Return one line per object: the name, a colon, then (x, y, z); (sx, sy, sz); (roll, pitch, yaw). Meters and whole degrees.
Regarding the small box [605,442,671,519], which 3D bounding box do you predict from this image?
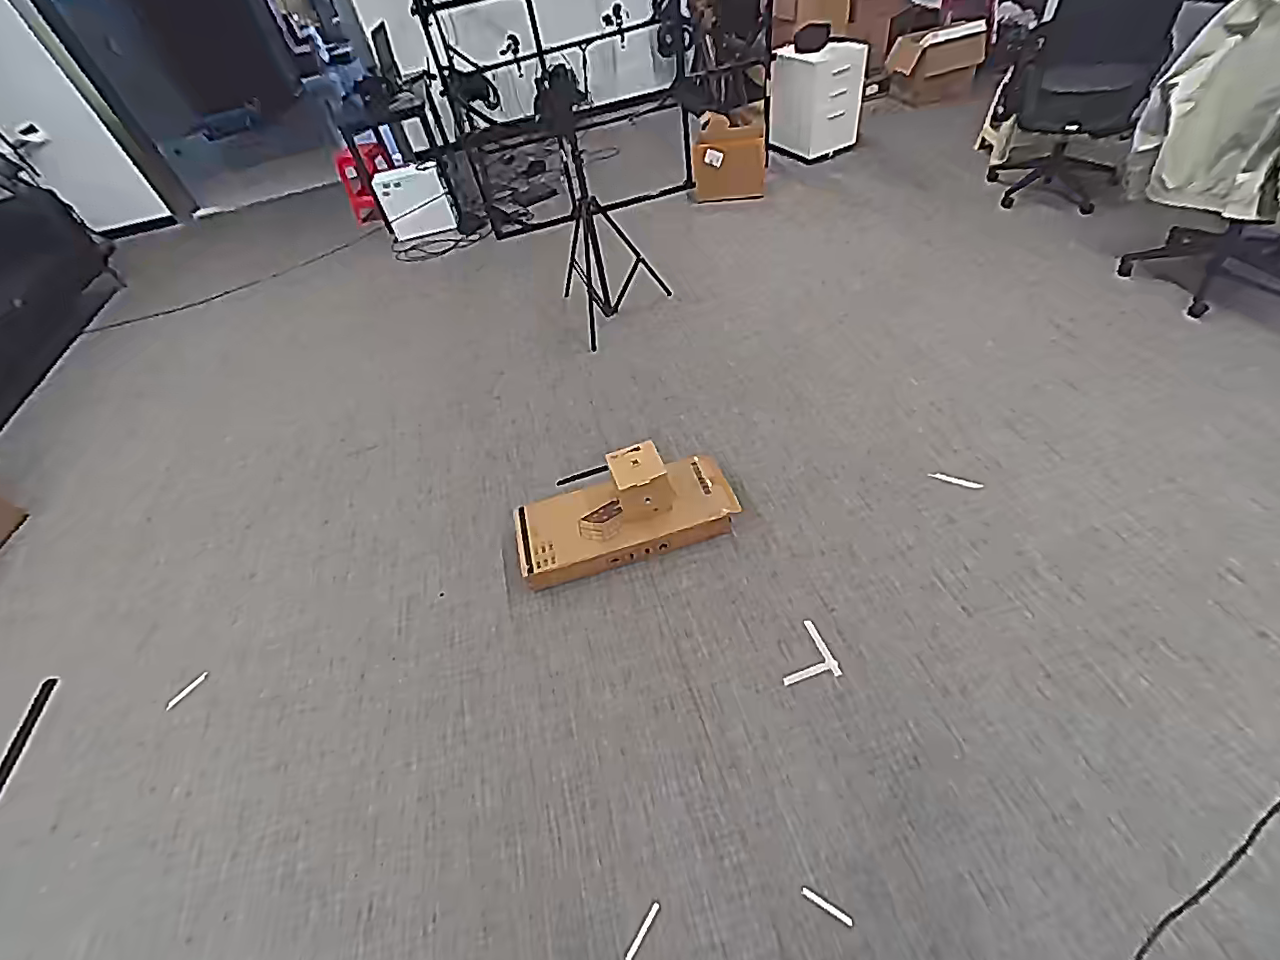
small box: (-0.002, 0.010, 1.791); (0.168, 0.176, 0.179); (-18, 47, -6)
